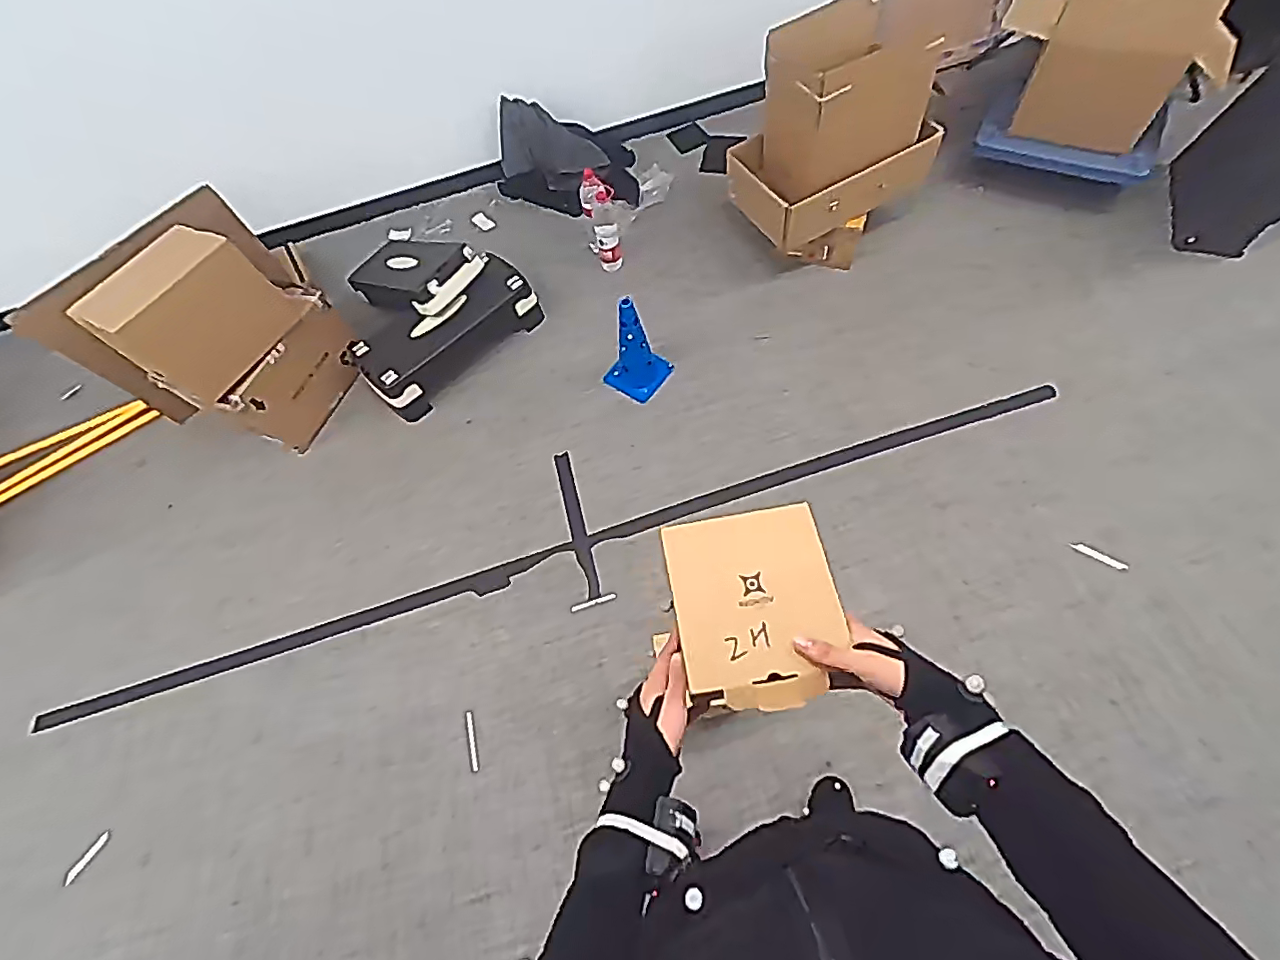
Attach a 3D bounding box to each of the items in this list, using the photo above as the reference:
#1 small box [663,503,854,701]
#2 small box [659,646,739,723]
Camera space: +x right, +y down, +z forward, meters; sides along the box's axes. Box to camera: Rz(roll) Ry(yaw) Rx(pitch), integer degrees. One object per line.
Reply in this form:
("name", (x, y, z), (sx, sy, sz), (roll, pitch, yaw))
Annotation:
("small box", (0.121, 0.149, 0.627), (0.168, 0.176, 0.179), (-10, 65, 1))
("small box", (0.155, 0.524, 1.406), (0.168, 0.176, 0.179), (-14, 63, 0))
